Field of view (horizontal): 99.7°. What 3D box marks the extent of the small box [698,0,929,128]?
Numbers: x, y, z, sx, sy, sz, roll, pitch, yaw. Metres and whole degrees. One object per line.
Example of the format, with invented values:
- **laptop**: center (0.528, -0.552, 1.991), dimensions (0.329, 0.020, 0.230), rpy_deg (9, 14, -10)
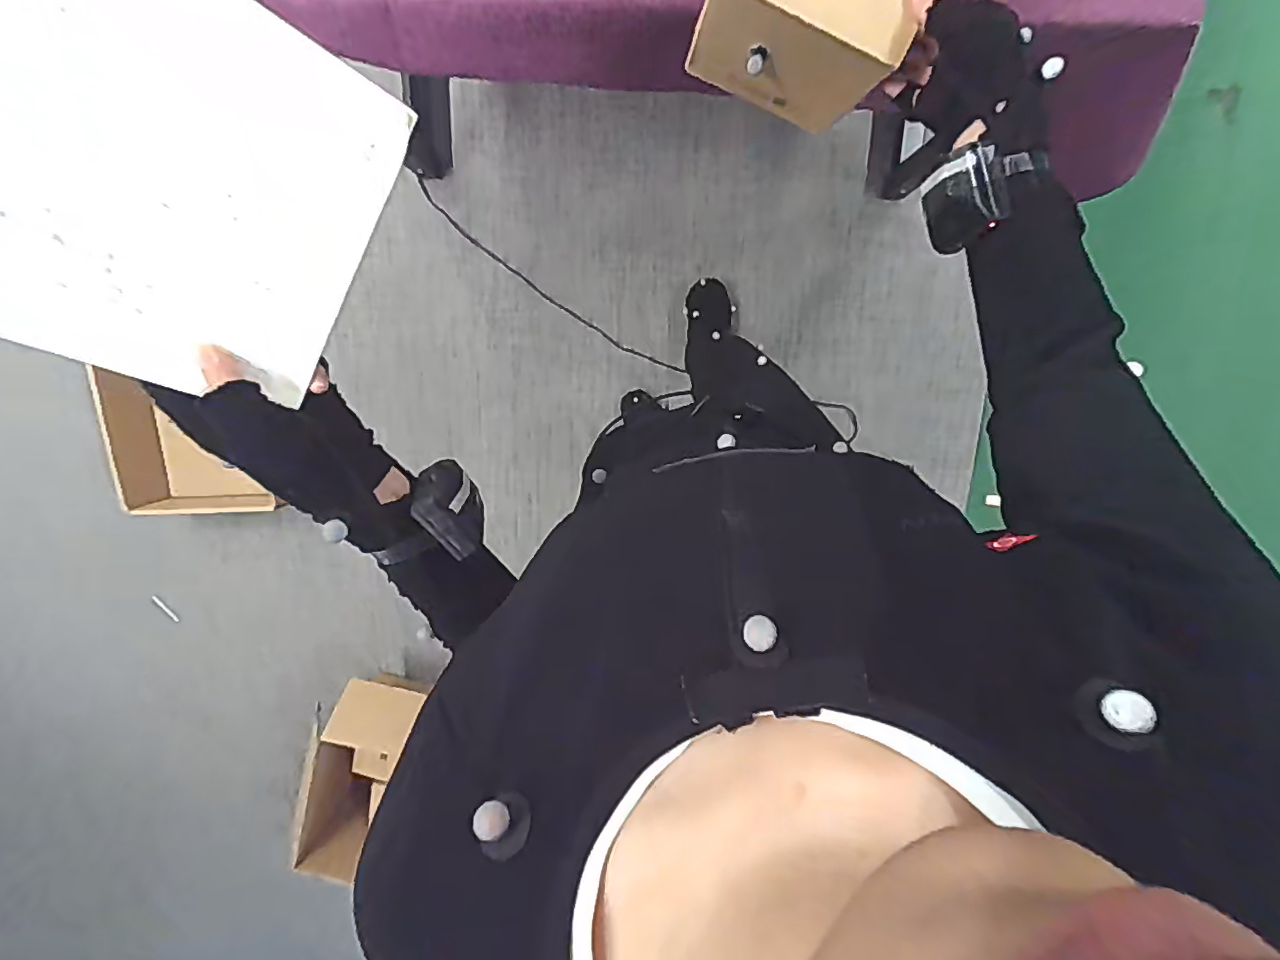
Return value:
- **small box**: center (0.161, -0.459, 0.483), dimensions (0.168, 0.176, 0.179), rpy_deg (19, 102, -9)
